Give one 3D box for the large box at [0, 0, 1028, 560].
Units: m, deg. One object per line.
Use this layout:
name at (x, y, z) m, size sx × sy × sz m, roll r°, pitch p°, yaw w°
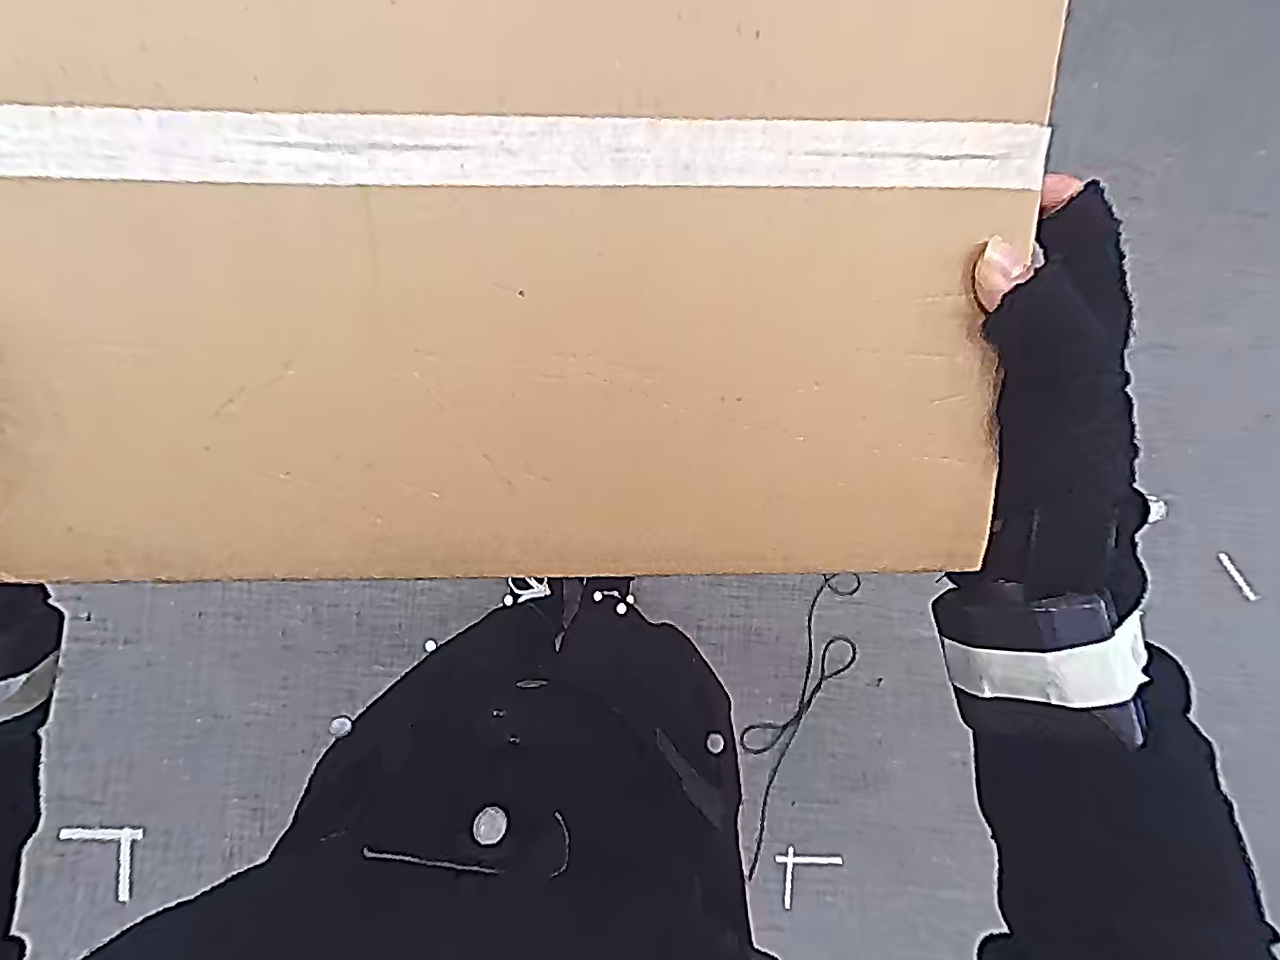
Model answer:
large box at (-0.065, -0.151, 0.345) m, size 0.408 × 0.320 × 0.320 m, roll 0°, pitch 103°, yaw -3°
